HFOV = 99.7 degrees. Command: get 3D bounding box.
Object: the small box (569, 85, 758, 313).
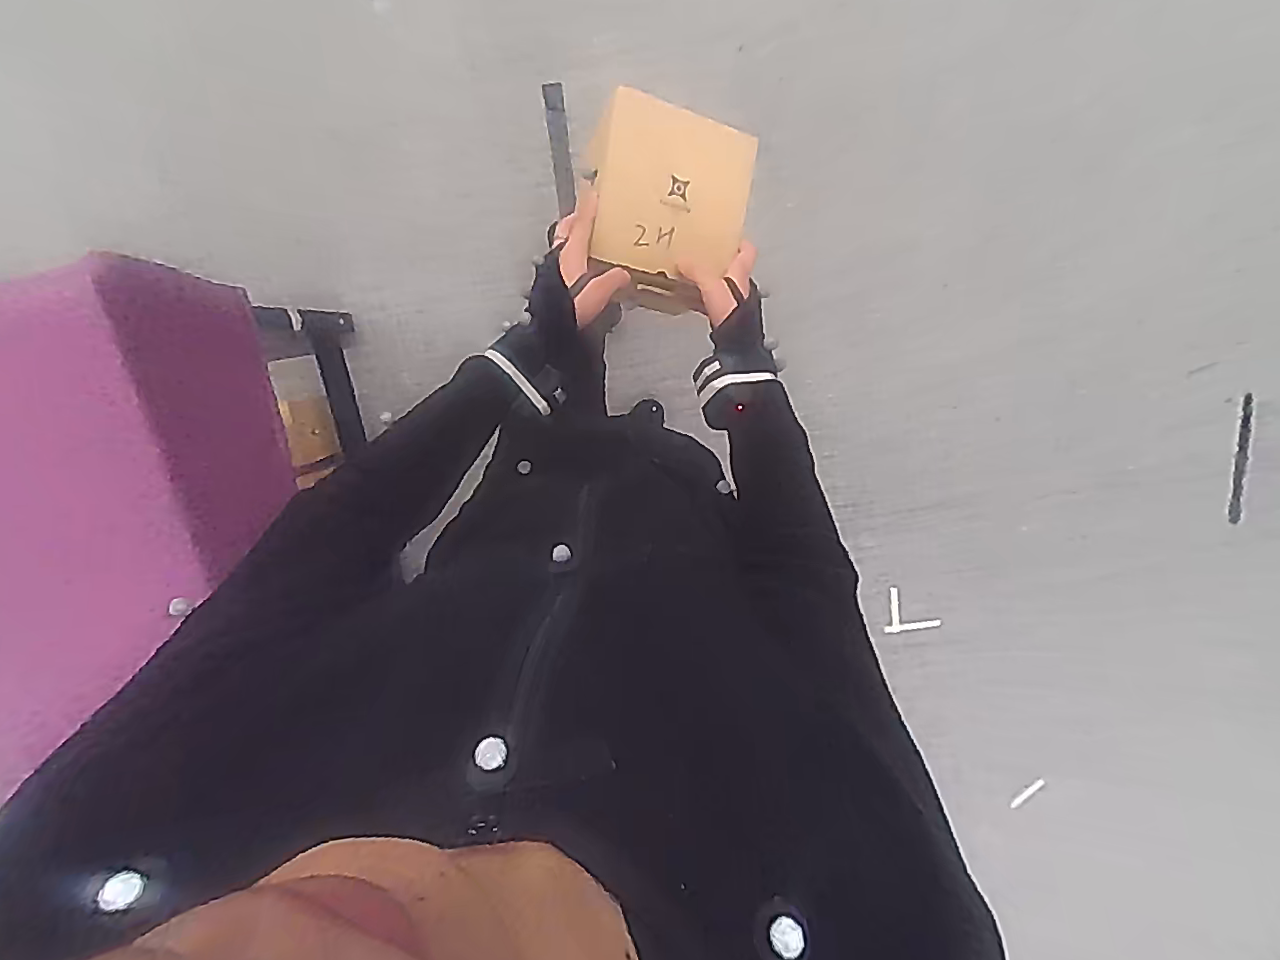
[{"bbox_3d":[0.017,-0.316,0.654,0.168,0.176,0.179,9,97,-17],"label":"small box"}]
